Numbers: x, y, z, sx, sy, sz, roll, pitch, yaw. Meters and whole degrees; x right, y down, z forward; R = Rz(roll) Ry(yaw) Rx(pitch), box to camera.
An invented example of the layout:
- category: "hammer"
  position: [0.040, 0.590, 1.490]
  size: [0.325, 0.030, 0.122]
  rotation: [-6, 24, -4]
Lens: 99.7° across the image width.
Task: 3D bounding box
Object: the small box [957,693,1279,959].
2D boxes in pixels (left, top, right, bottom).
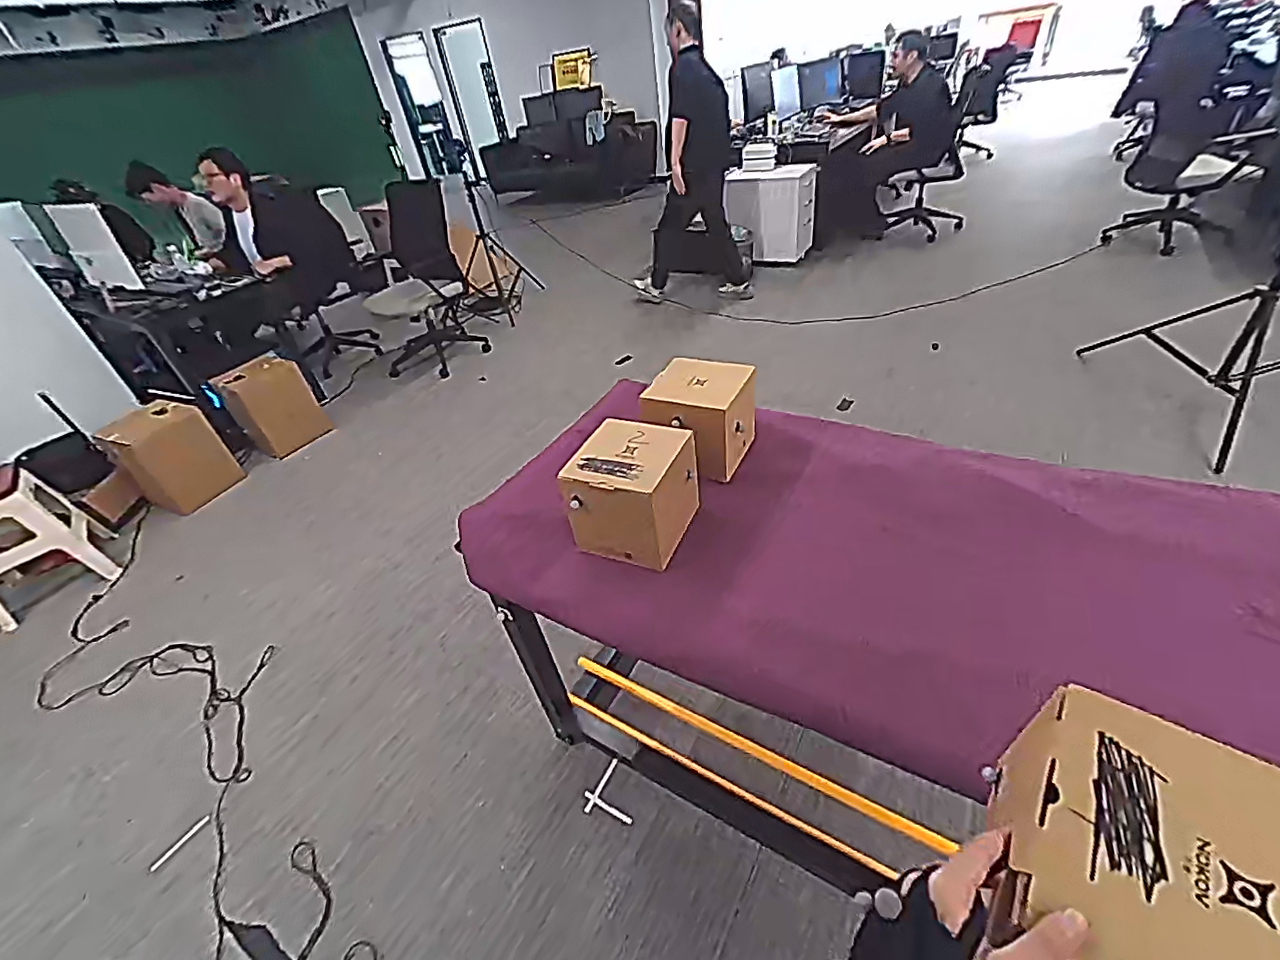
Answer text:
- category: "small box"
  position: [0.340, 0.286, 0.362]
  size: [0.179, 0.176, 0.168]
  rotation: [21, 55, 30]

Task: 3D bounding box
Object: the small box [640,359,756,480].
- category: "small box"
  position: [0.121, -0.120, 1.072]
  size: [0.179, 0.176, 0.168]
  rotation: [13, 43, 26]
